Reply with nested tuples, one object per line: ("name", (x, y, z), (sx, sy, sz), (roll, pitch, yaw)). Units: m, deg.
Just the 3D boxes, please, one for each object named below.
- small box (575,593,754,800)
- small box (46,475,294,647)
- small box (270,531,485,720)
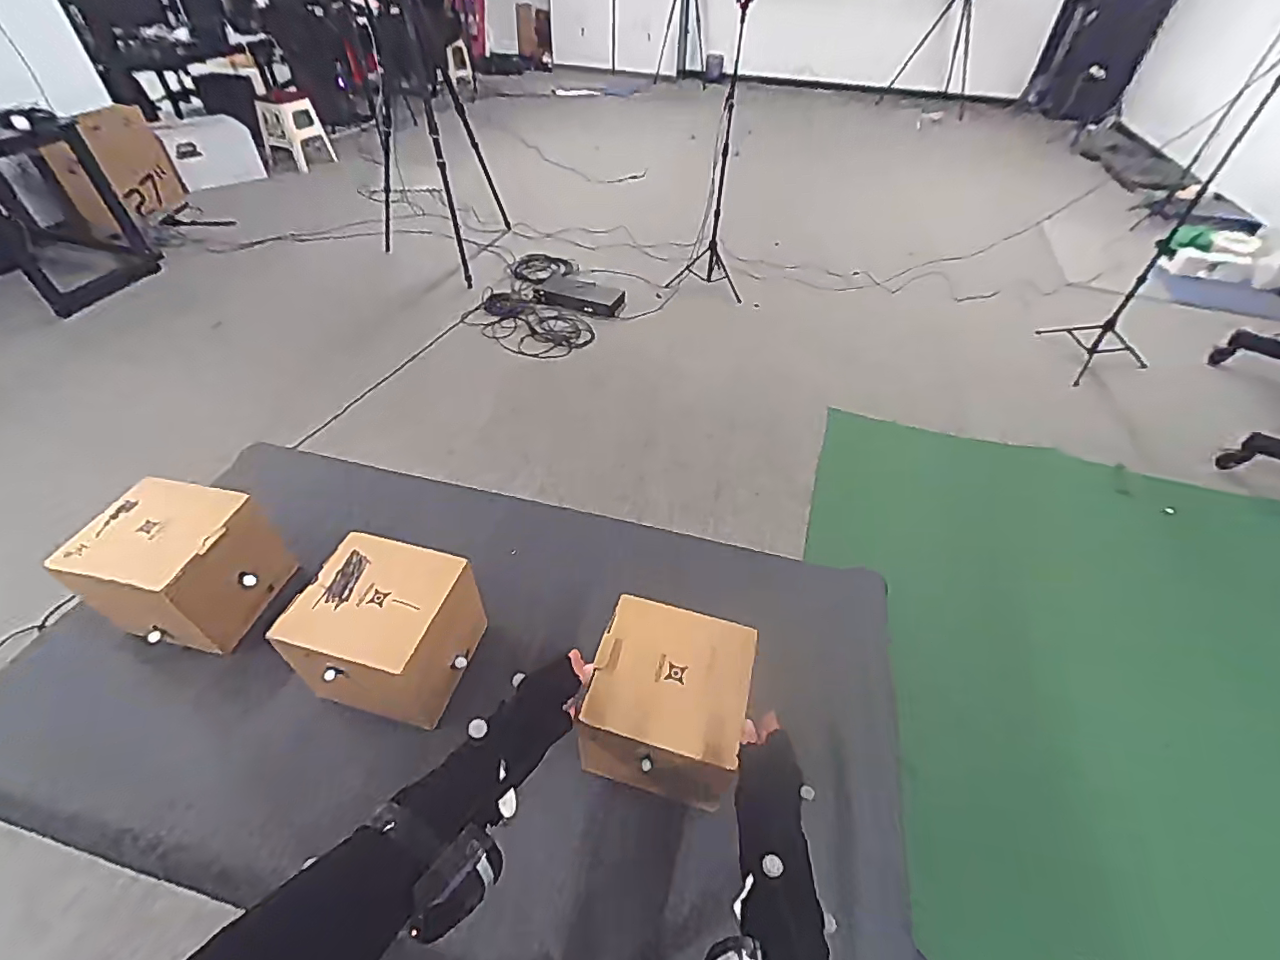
("small box", (0.031, 0.273, 0.676), (0.179, 0.176, 0.168), (14, 48, 9))
("small box", (-0.652, 0.120, 0.783), (0.179, 0.176, 0.168), (11, 46, 6))
("small box", (-0.332, 0.197, 0.726), (0.179, 0.176, 0.168), (12, 46, 8))
